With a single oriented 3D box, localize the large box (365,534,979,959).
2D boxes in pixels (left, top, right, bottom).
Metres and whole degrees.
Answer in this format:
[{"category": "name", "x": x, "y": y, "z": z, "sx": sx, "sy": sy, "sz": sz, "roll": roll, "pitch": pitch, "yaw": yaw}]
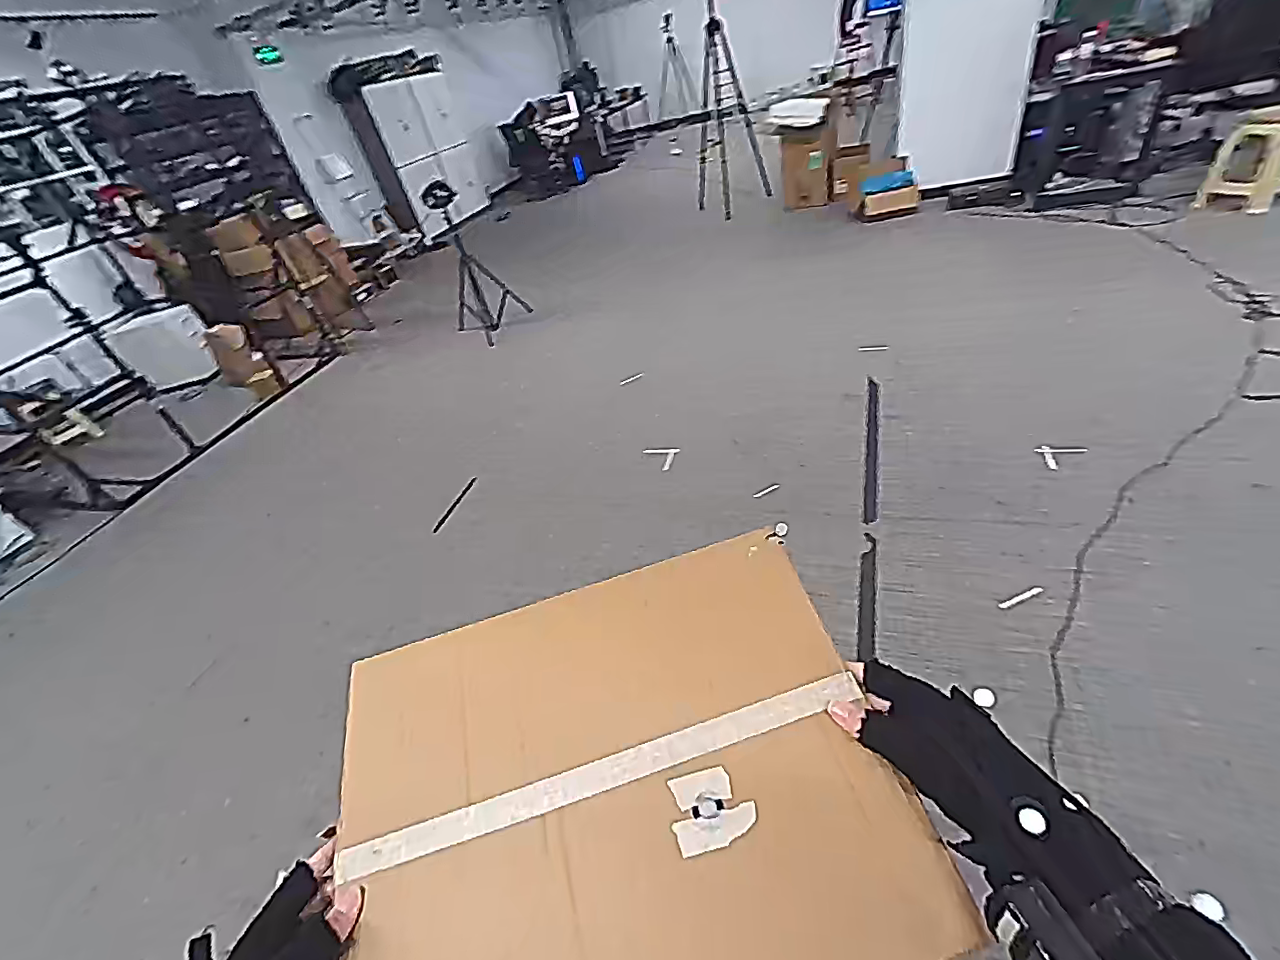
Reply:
[{"category": "large box", "x": 0.006, "y": 0.314, "z": 0.532, "sx": 0.408, "sy": 0.320, "sz": 0.320, "roll": -17, "pitch": 52, "yaw": -4}]
